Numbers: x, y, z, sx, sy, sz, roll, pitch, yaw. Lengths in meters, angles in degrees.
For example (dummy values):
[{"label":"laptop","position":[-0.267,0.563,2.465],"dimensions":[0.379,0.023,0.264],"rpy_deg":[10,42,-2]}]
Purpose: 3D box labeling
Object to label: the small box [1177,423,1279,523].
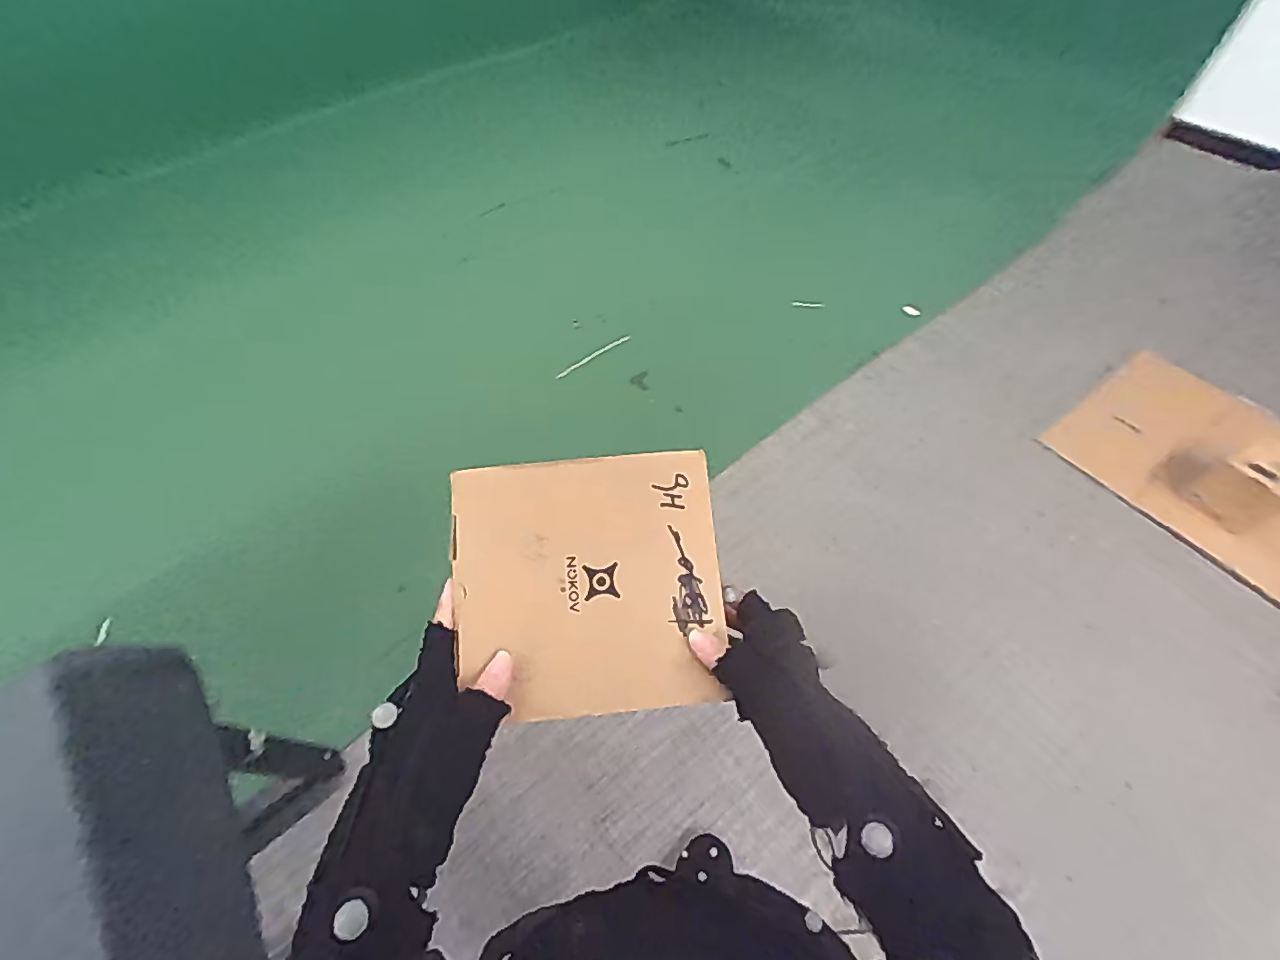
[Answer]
[{"label":"small box","position":[1.607,-0.013,1.439],"dimensions":[0.179,0.176,0.168],"rpy_deg":[-28,60,-15]}]
